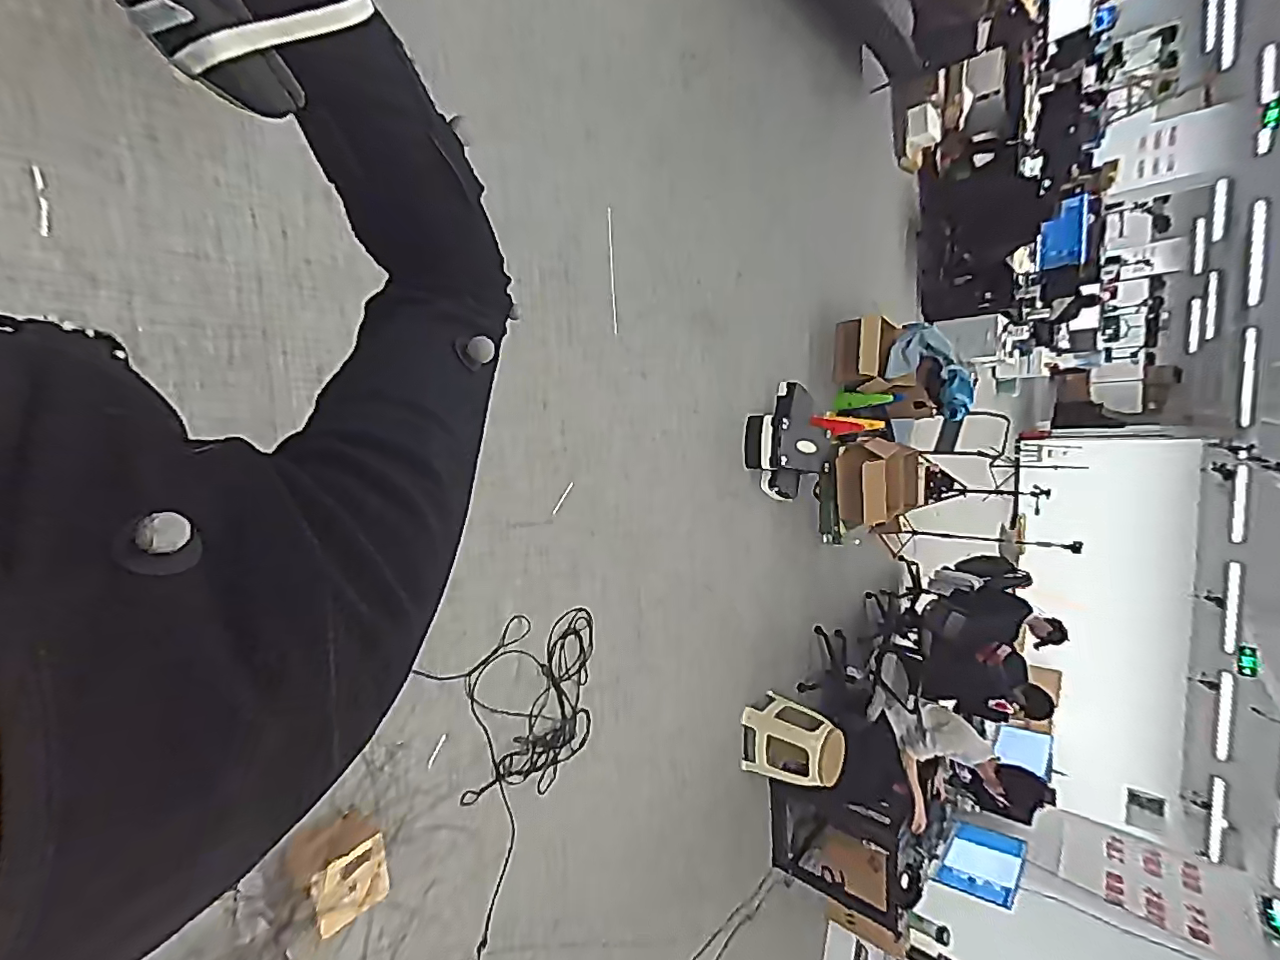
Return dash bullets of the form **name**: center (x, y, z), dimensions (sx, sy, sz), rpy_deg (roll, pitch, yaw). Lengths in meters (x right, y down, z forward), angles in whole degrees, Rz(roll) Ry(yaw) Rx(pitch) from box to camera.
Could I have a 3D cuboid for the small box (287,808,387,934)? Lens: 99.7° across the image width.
- **small box**: center (-0.768, 0.969, 1.367), dimensions (0.168, 0.176, 0.179), rpy_deg (-13, 103, -48)
